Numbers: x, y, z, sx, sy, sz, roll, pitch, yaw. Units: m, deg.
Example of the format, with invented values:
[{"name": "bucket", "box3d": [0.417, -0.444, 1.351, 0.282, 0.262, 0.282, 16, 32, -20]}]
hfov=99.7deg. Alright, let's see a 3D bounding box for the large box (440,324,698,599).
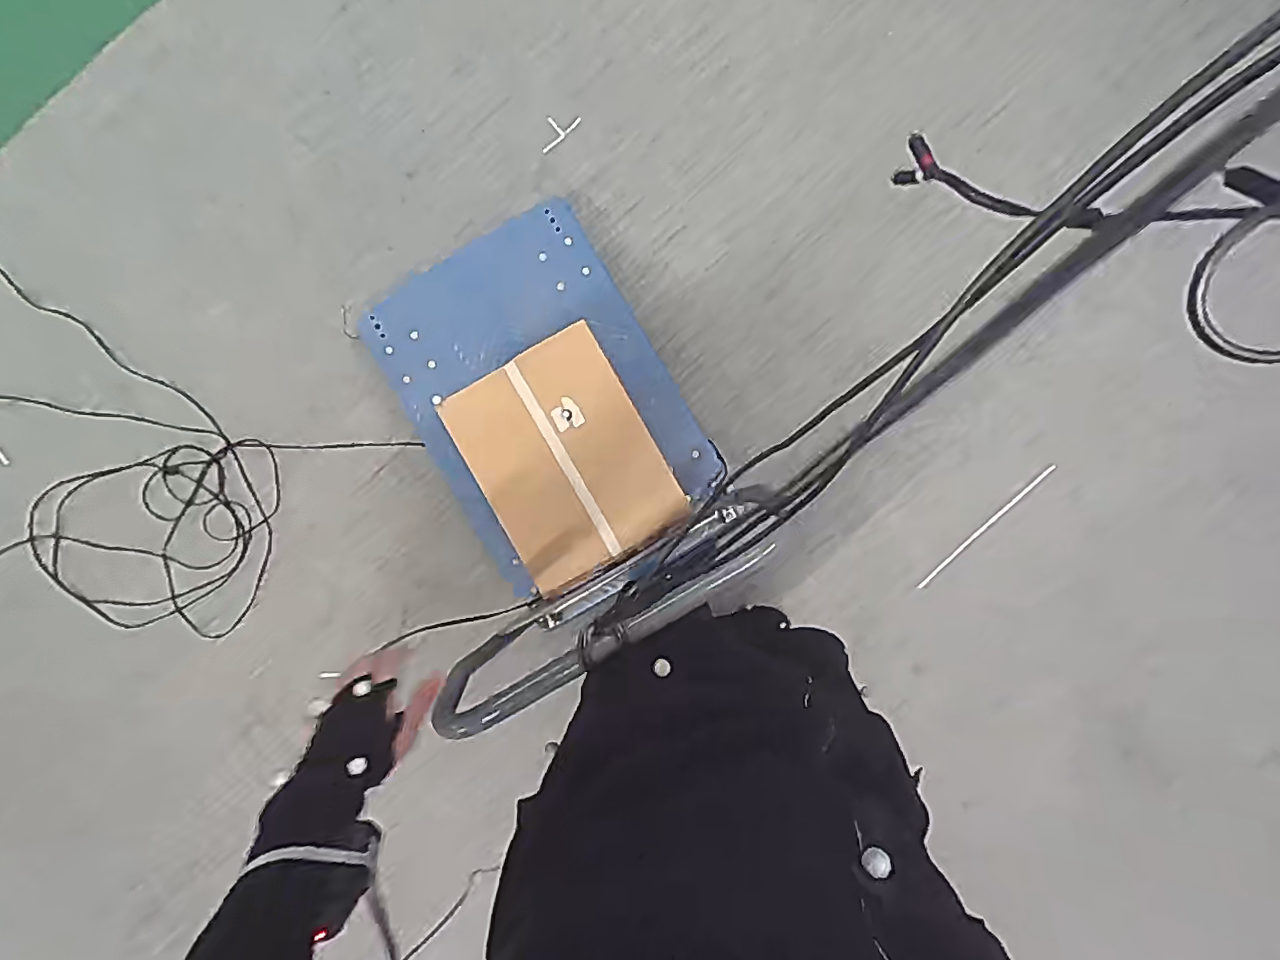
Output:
[{"name": "large box", "box3d": [-0.120, -0.031, 1.101, 0.320, 0.320, 0.408, -30, 89, 1]}]
